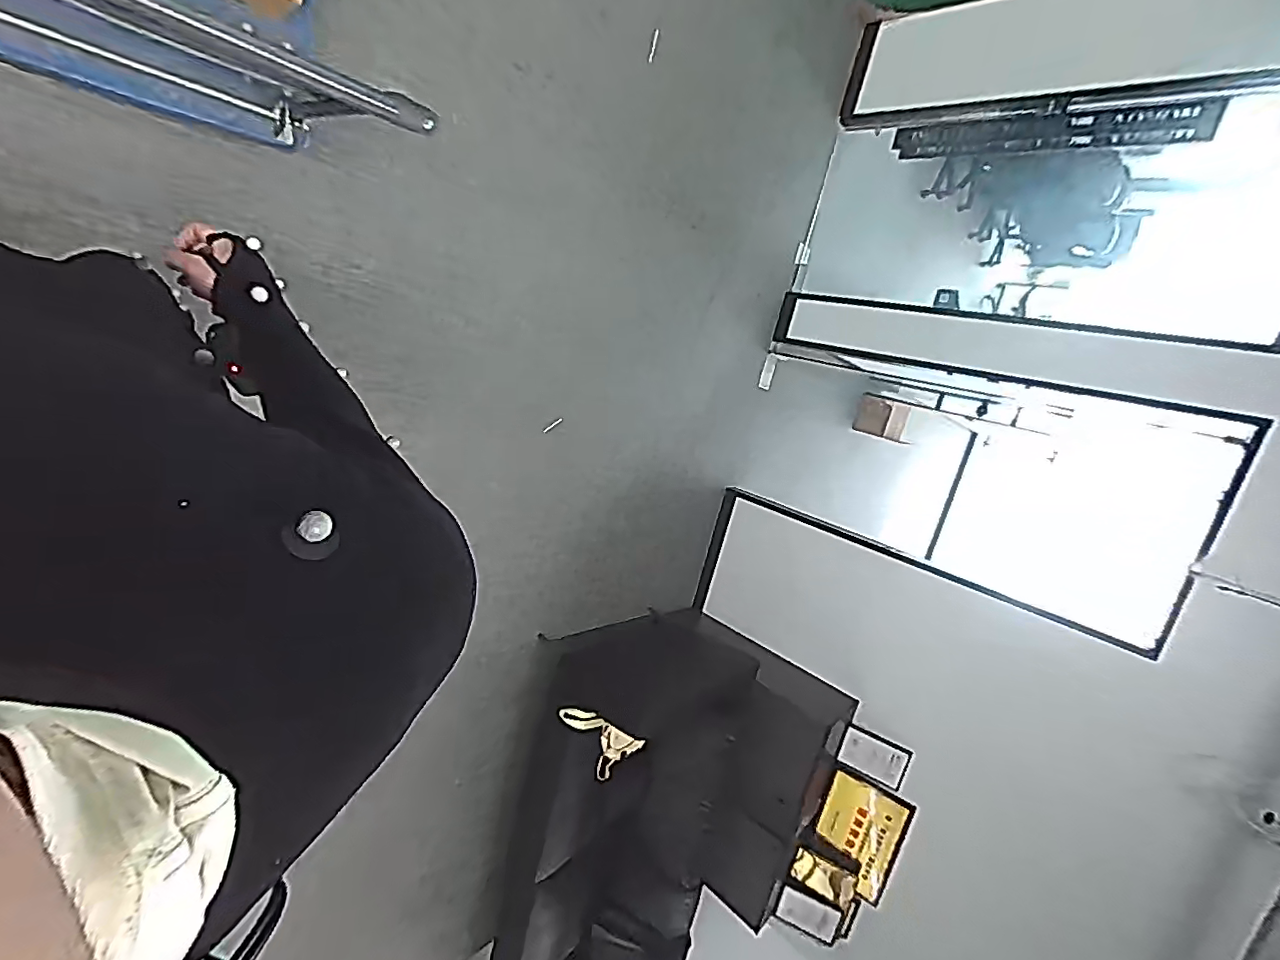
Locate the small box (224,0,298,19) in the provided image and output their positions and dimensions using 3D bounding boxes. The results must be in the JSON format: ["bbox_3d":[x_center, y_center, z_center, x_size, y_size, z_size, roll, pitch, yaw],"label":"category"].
[{"bbox_3d":[-0.704,-0.951,0.931,0.168,0.176,0.179,-5,112,-49],"label":"small box"}]
